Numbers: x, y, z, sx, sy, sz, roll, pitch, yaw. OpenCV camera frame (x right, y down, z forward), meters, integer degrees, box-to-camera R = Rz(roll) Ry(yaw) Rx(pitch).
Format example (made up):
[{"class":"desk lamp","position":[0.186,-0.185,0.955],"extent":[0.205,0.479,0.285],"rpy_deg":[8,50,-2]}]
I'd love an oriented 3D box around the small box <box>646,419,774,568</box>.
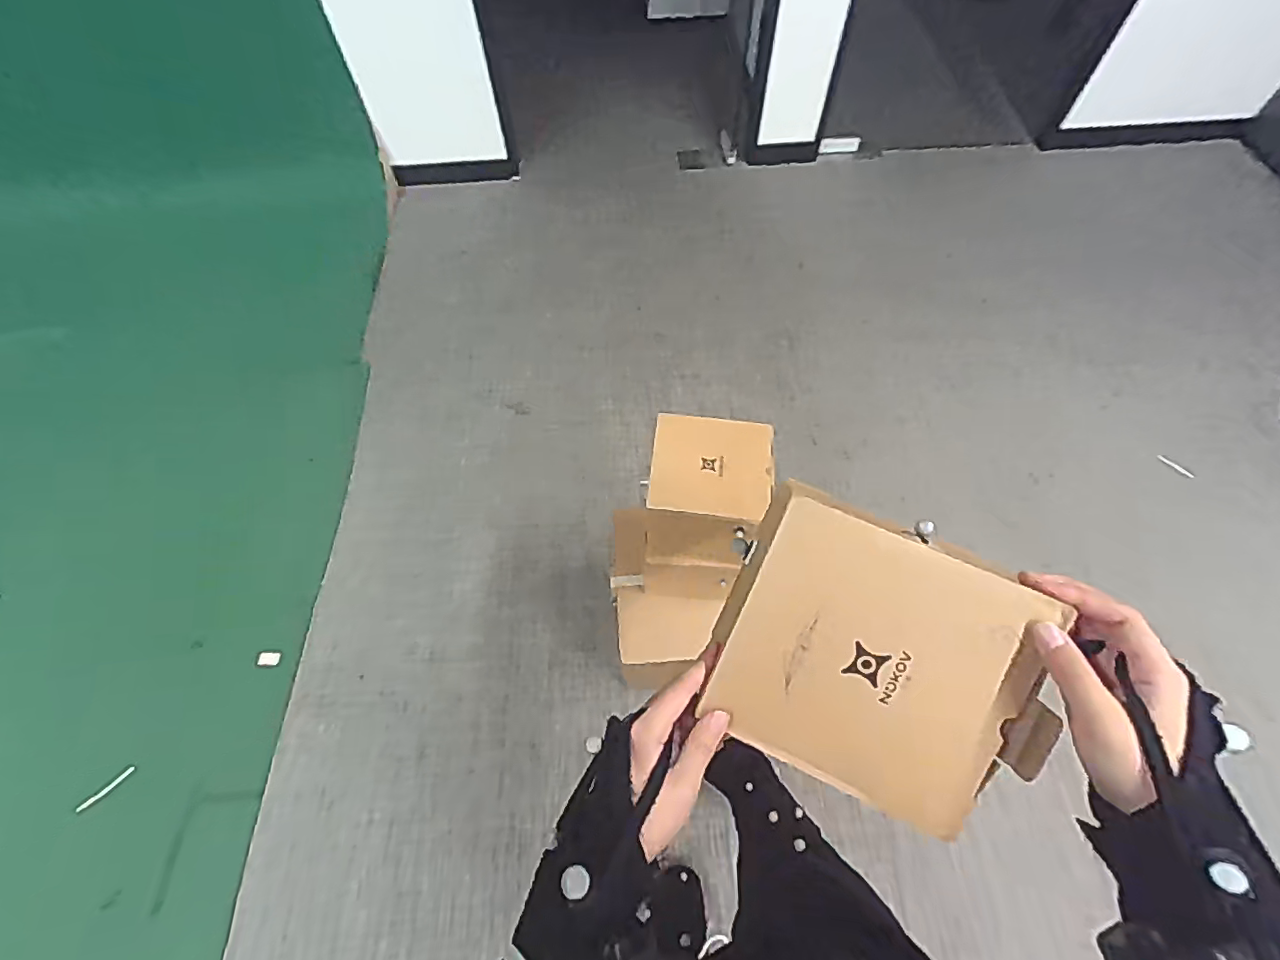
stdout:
[{"class":"small box","position":[0.105,0.027,0.846],"extent":[0.179,0.176,0.168],"rpy_deg":[7,60,4]}]

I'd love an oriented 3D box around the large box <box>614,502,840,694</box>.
[{"class":"large box","position":[0.156,0.266,1.176],"extent":[0.408,0.320,0.320],"rpy_deg":[-3,61,-2]}]
